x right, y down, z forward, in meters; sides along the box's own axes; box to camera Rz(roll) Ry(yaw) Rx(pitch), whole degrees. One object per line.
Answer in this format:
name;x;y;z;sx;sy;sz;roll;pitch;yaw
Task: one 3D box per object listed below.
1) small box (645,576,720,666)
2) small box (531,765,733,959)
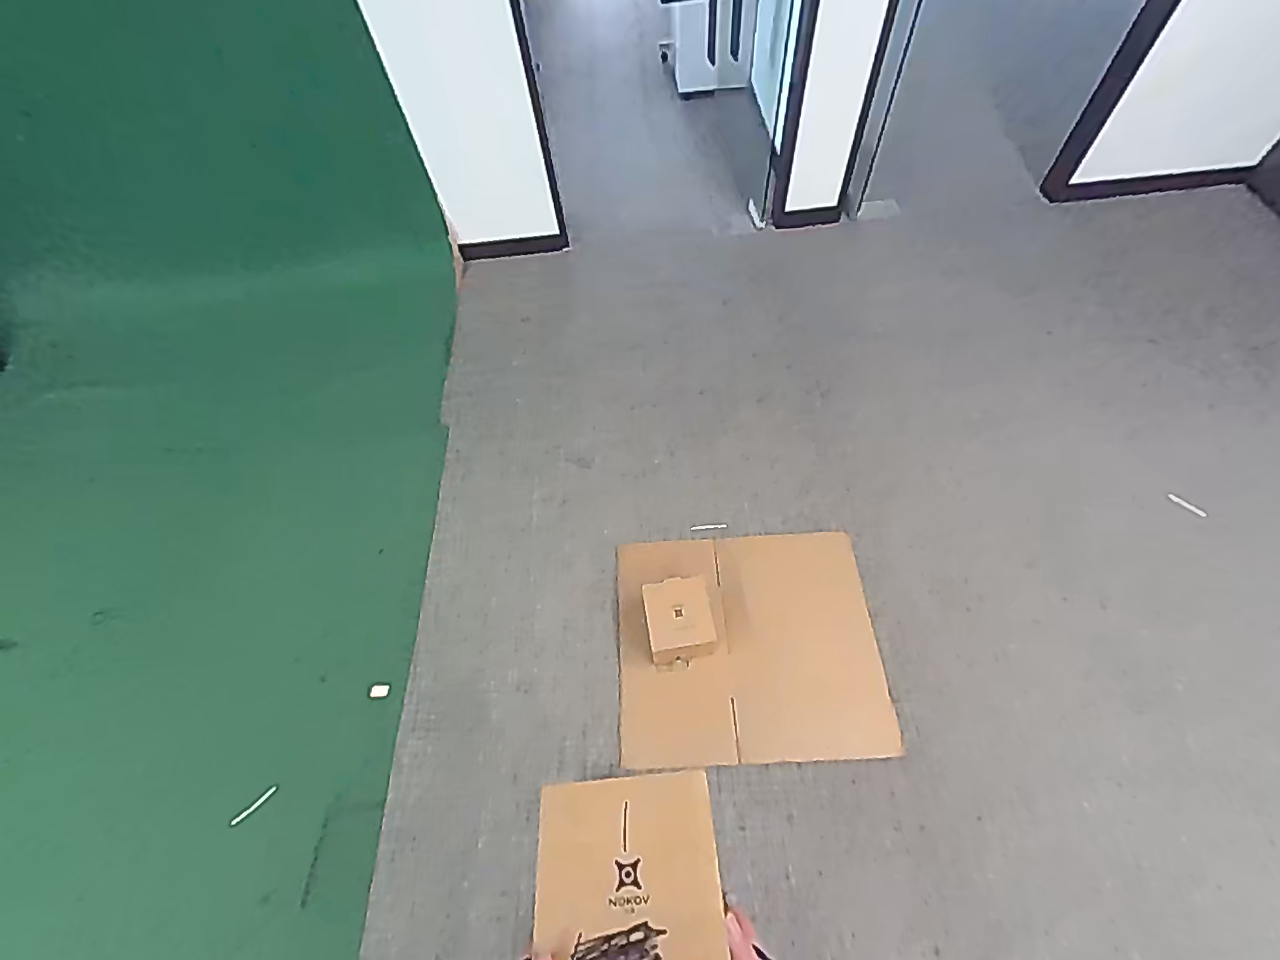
small box;0.108;0.375;1.426;0.168;0.176;0.179;-9;59;-1
small box;0.000;0.402;0.531;0.168;0.176;0.179;-7;48;3
